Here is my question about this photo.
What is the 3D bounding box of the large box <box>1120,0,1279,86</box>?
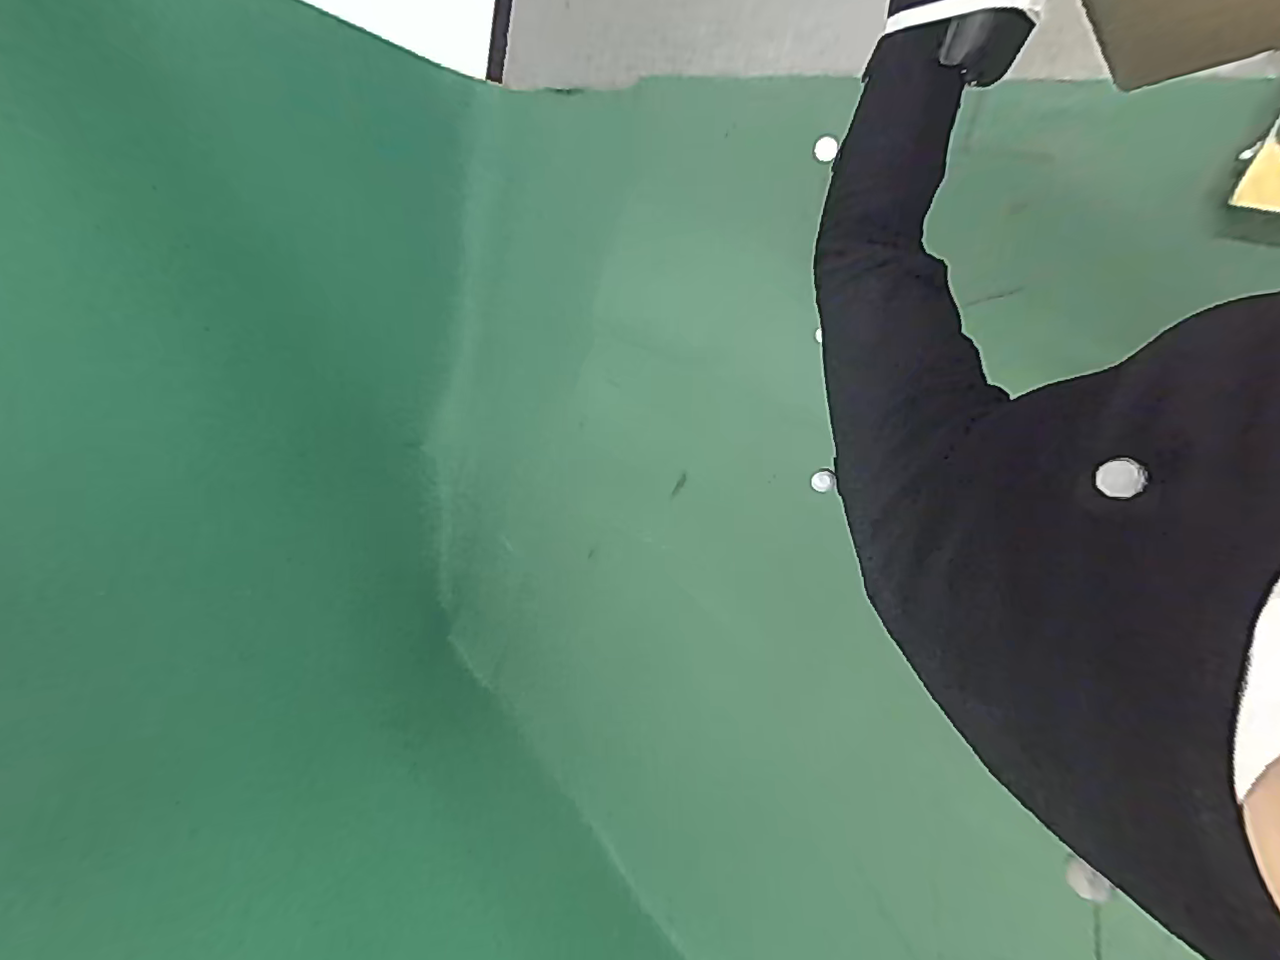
[{"bbox_3d":[0.507,-0.477,0.257,0.408,0.320,0.320,7,109,43],"label":"large box"}]
